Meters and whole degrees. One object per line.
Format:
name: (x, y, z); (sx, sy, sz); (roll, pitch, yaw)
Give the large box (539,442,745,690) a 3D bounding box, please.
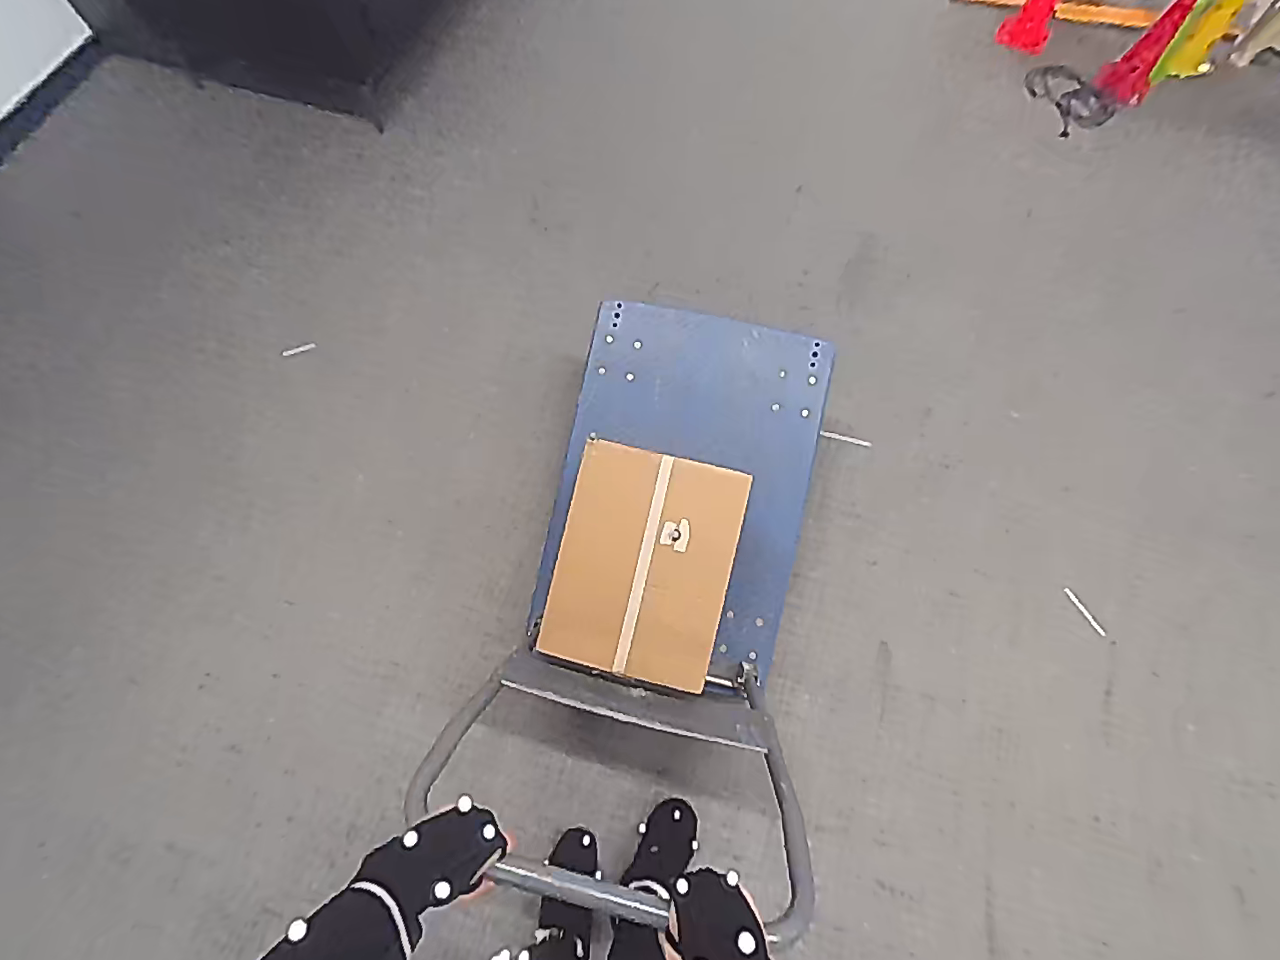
large box: (0.015, 0.164, 1.136); (0.320, 0.320, 0.408); (13, 87, 5)
